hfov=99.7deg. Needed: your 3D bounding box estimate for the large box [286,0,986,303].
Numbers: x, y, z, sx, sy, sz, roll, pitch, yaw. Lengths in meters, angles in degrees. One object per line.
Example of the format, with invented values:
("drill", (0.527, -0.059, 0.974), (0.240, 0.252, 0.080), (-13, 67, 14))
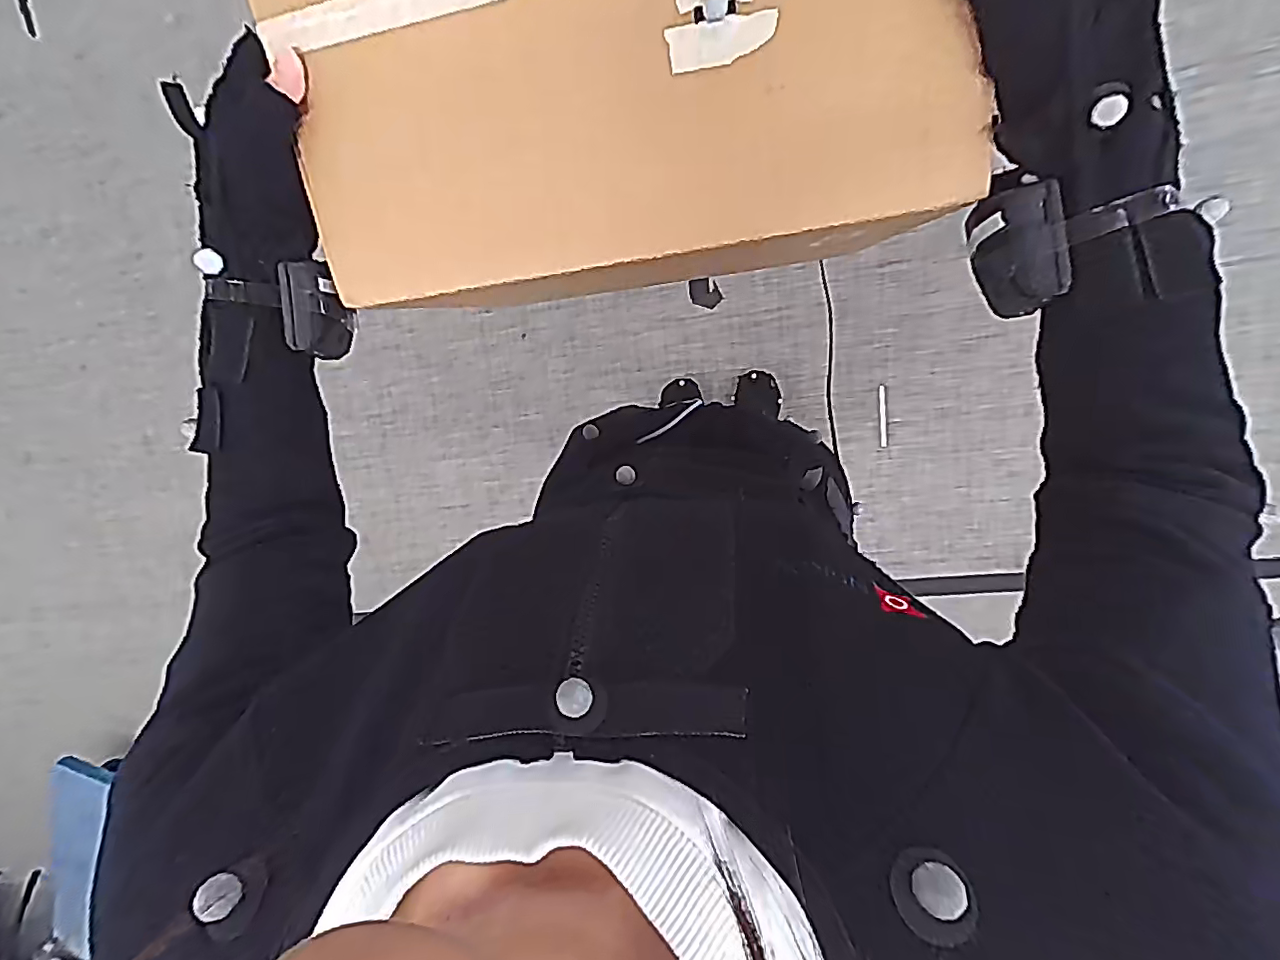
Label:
("large box", (-0.001, -0.338, 0.442), (0.408, 0.320, 0.320), (-6, 108, 10))
